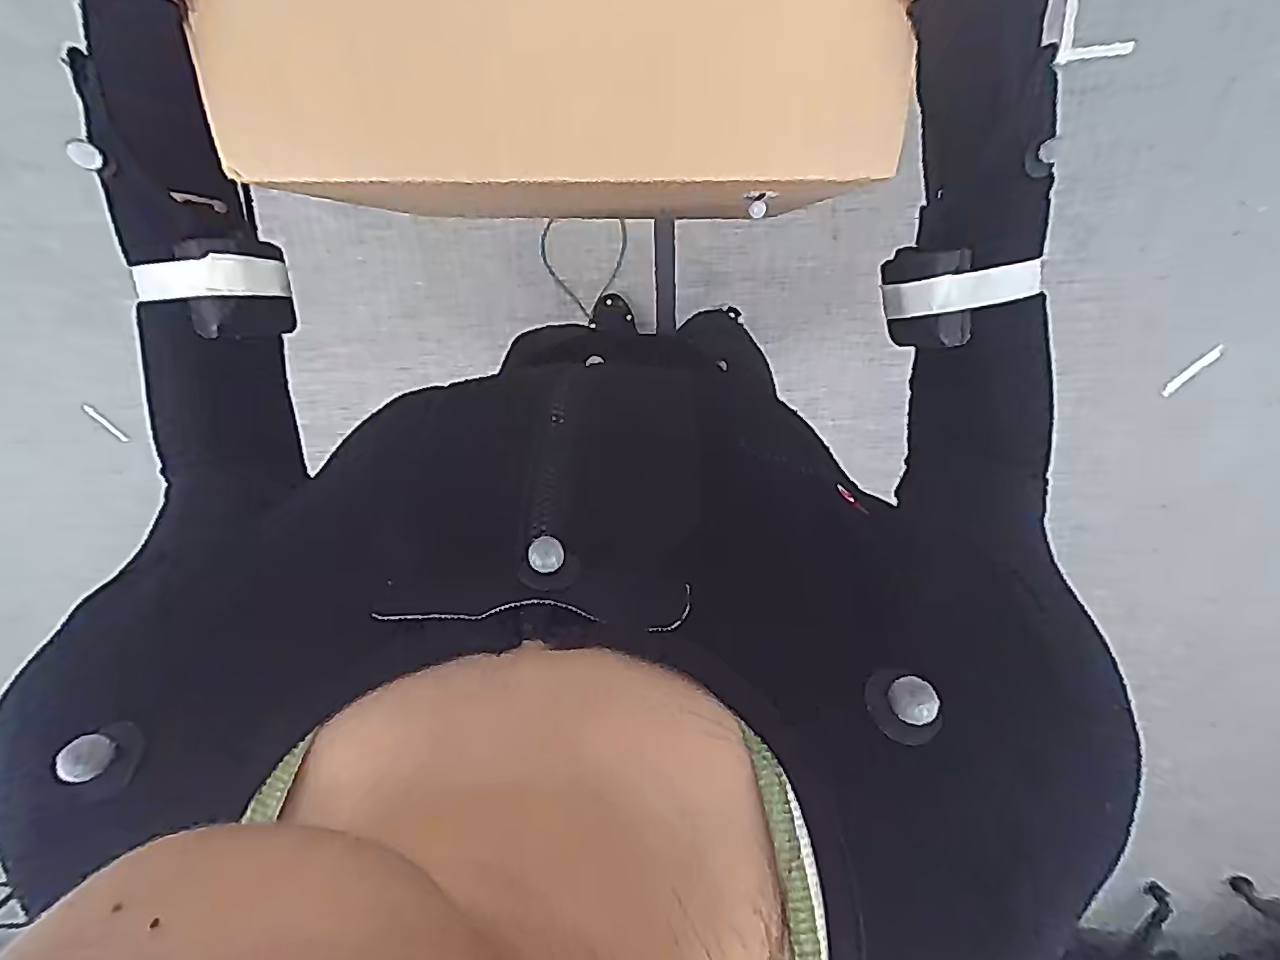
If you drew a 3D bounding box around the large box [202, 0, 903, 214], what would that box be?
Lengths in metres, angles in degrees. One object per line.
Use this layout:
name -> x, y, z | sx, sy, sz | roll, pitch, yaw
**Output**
large box -> -0.048, -0.388, 0.419 | 0.408, 0.320, 0.320 | 0, 112, 0
